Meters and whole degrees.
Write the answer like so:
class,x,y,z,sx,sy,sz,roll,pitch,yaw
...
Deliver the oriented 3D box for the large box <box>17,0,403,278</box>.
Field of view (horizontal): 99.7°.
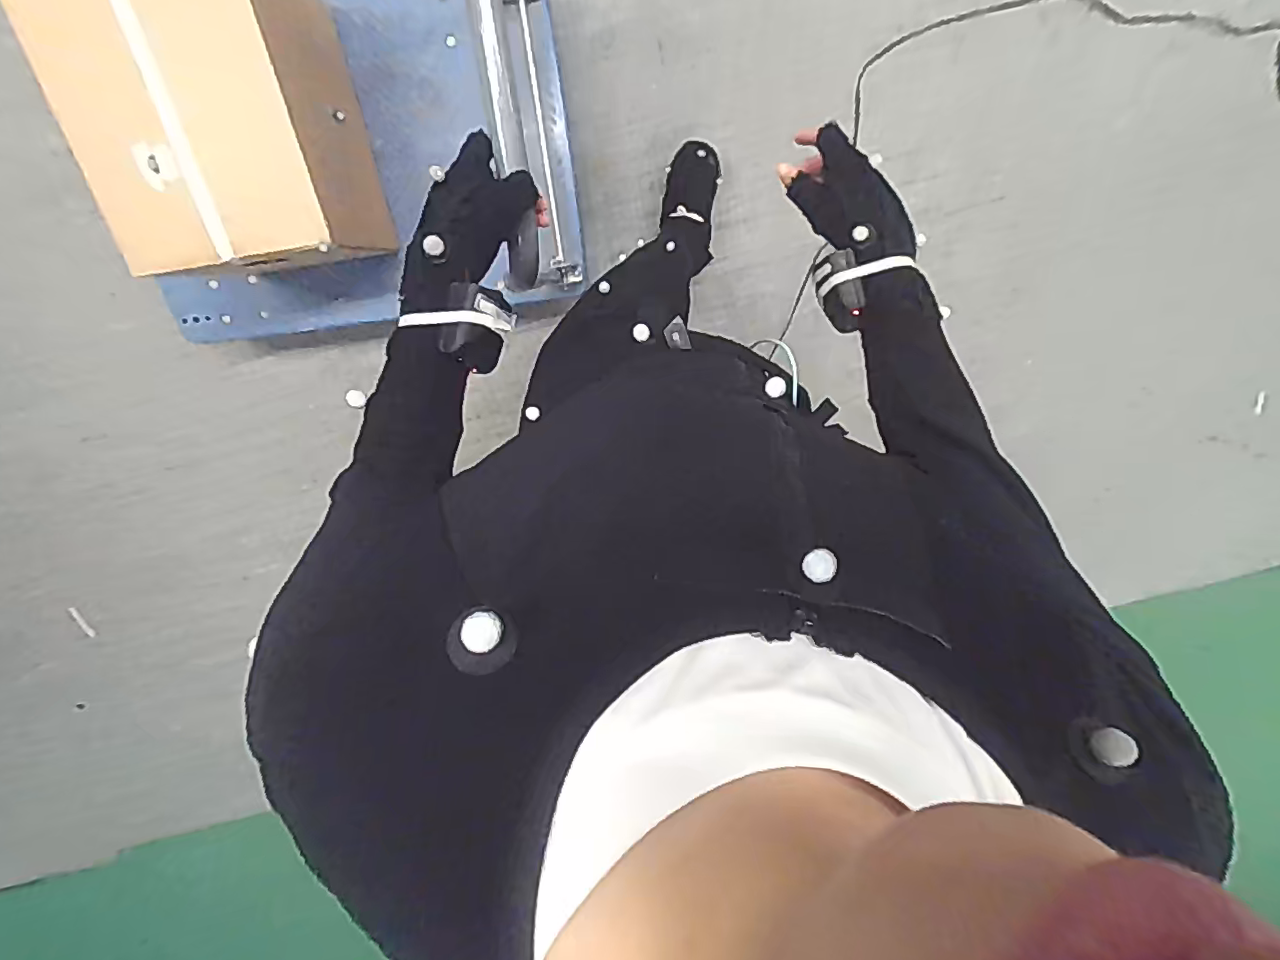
class,x,y,z,sx,sy,sz,roll,pitch,yaw
large box,-0.649,-0.573,0.896,0.320,0.320,0.408,-9,112,0
